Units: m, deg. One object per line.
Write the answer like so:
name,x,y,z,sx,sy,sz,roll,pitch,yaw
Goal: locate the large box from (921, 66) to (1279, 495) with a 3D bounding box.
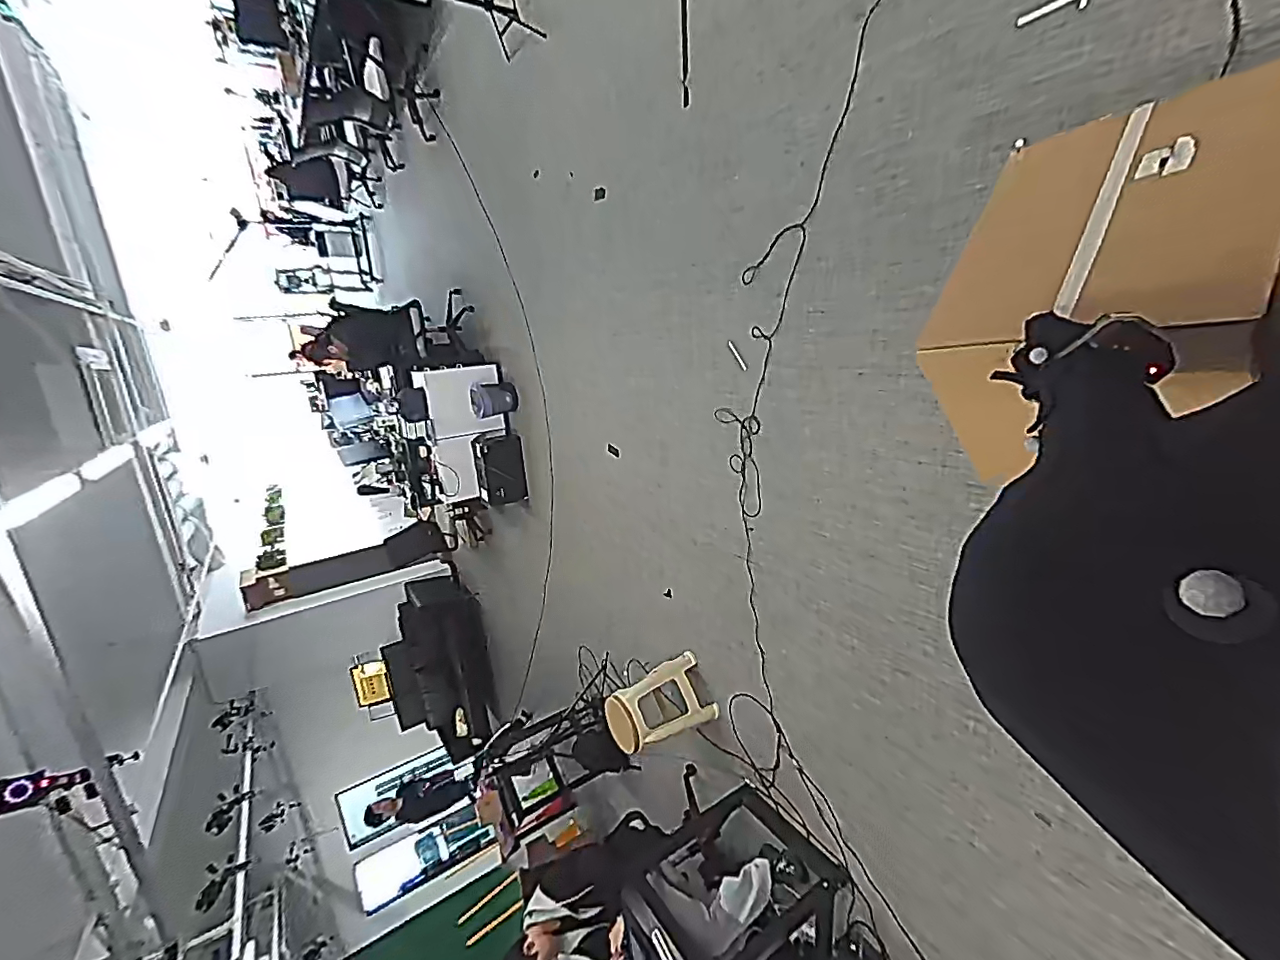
large box,0.661,-0.235,0.739,0.320,0.408,0.320,42,163,-32
